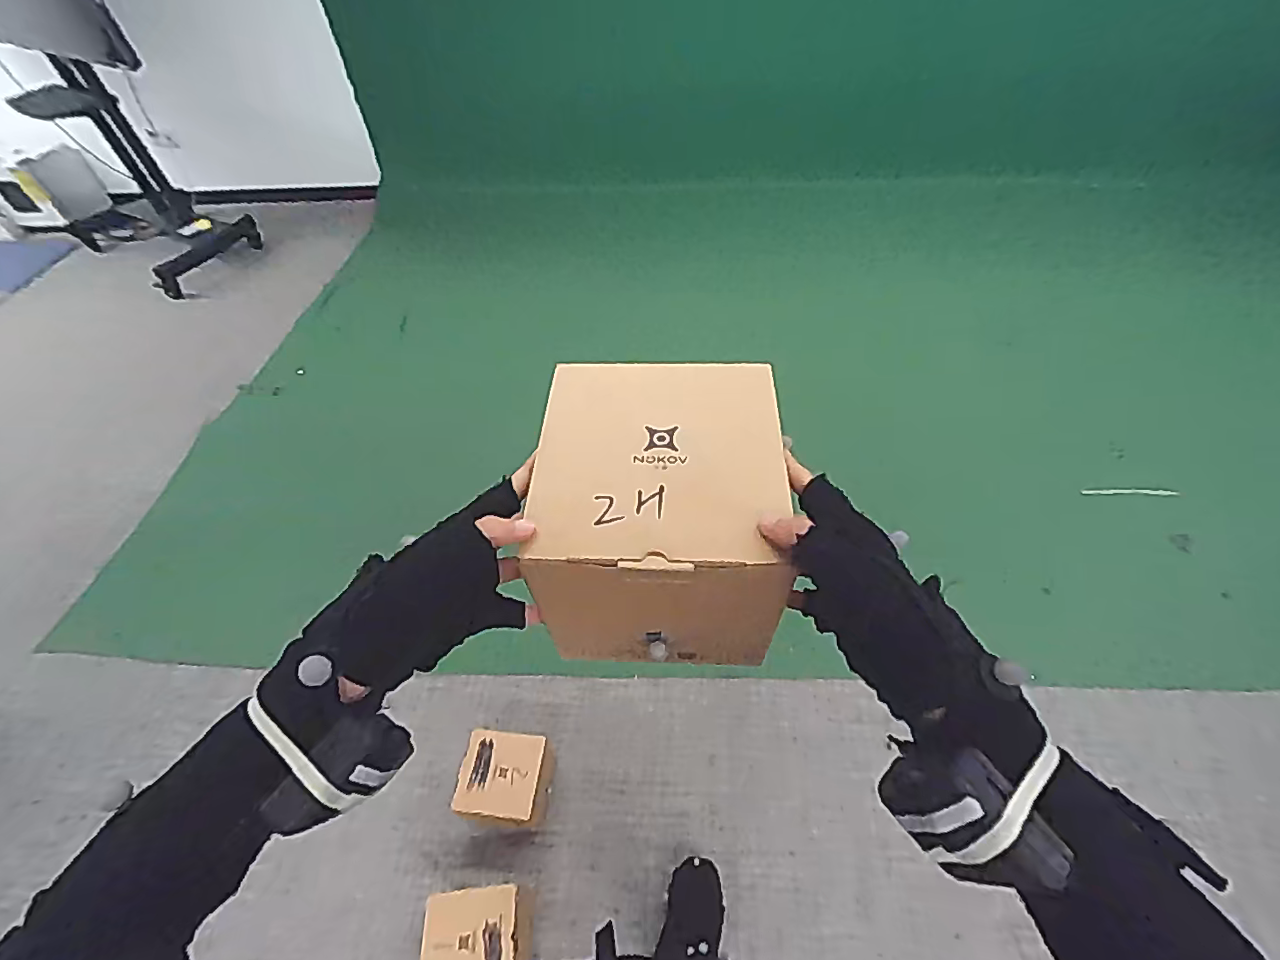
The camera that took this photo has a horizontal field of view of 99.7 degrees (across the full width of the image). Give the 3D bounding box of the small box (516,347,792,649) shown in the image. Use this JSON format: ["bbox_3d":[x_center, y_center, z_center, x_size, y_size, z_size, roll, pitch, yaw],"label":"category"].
[{"bbox_3d":[0.015,0.015,0.429,0.168,0.176,0.179,0,52,4],"label":"small box"}]

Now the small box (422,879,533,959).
[{"bbox_3d":[-0.311,0.898,1.061,0.179,0.176,0.168,-6,50,-2],"label":"small box"}]
